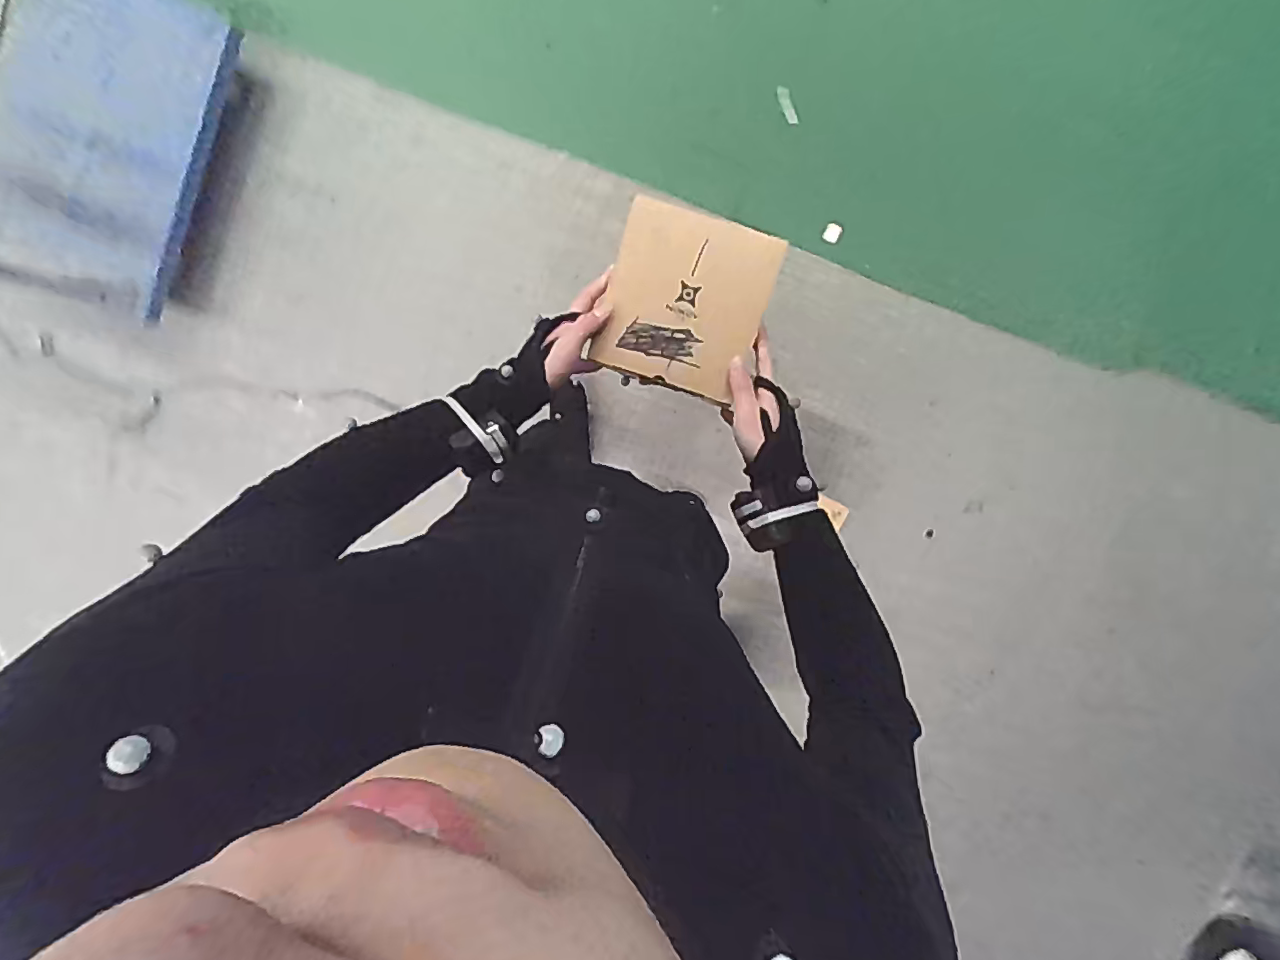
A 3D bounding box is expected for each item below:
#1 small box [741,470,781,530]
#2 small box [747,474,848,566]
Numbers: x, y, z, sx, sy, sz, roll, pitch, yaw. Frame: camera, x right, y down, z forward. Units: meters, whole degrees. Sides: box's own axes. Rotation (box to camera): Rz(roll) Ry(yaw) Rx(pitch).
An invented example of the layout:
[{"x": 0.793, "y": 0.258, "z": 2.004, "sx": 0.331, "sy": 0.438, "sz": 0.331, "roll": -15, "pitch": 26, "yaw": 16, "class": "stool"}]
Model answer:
[{"x": 0.400, "y": 0.085, "z": 1.533, "sx": 0.168, "sy": 0.176, "sz": 0.179, "roll": 29, "pitch": 97, "yaw": 2, "class": "small box"}, {"x": 0.387, "y": 0.094, "z": 1.371, "sx": 0.179, "sy": 0.176, "sz": 0.168, "roll": 29, "pitch": 97, "yaw": 3, "class": "small box"}]
